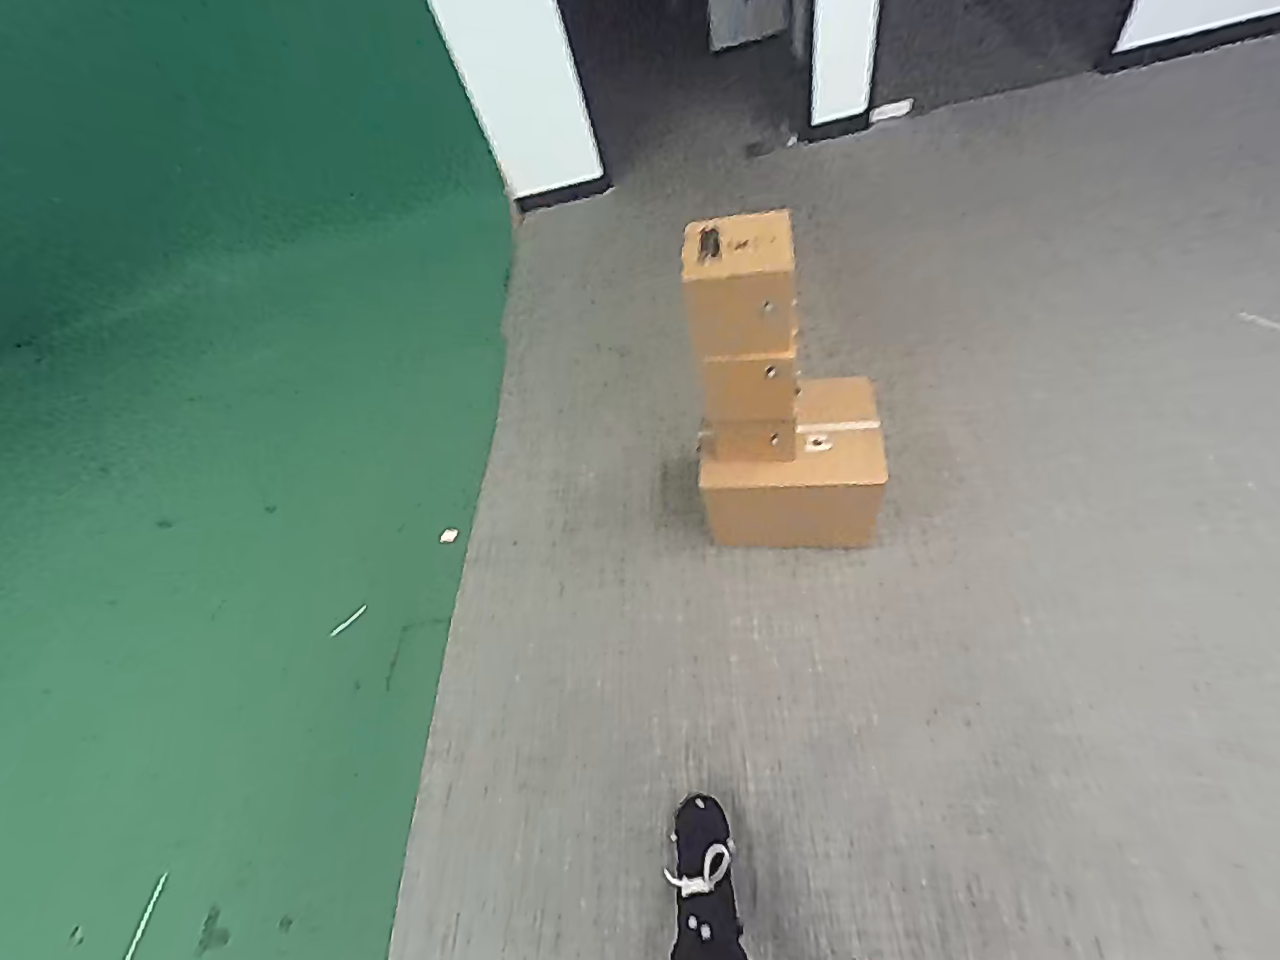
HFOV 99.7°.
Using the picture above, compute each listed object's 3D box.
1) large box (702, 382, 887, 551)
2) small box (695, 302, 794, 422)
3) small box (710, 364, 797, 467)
[{"bbox_3d":[0.375,-0.022,1.391,0.408,0.320,0.320,-2,57,13],"label":"large box"},{"bbox_3d":[0.213,-0.228,1.073,0.179,0.176,0.168,0,55,14],"label":"small box"},{"bbox_3d":[0.255,-0.143,1.206,0.179,0.176,0.168,-2,55,14],"label":"small box"}]
